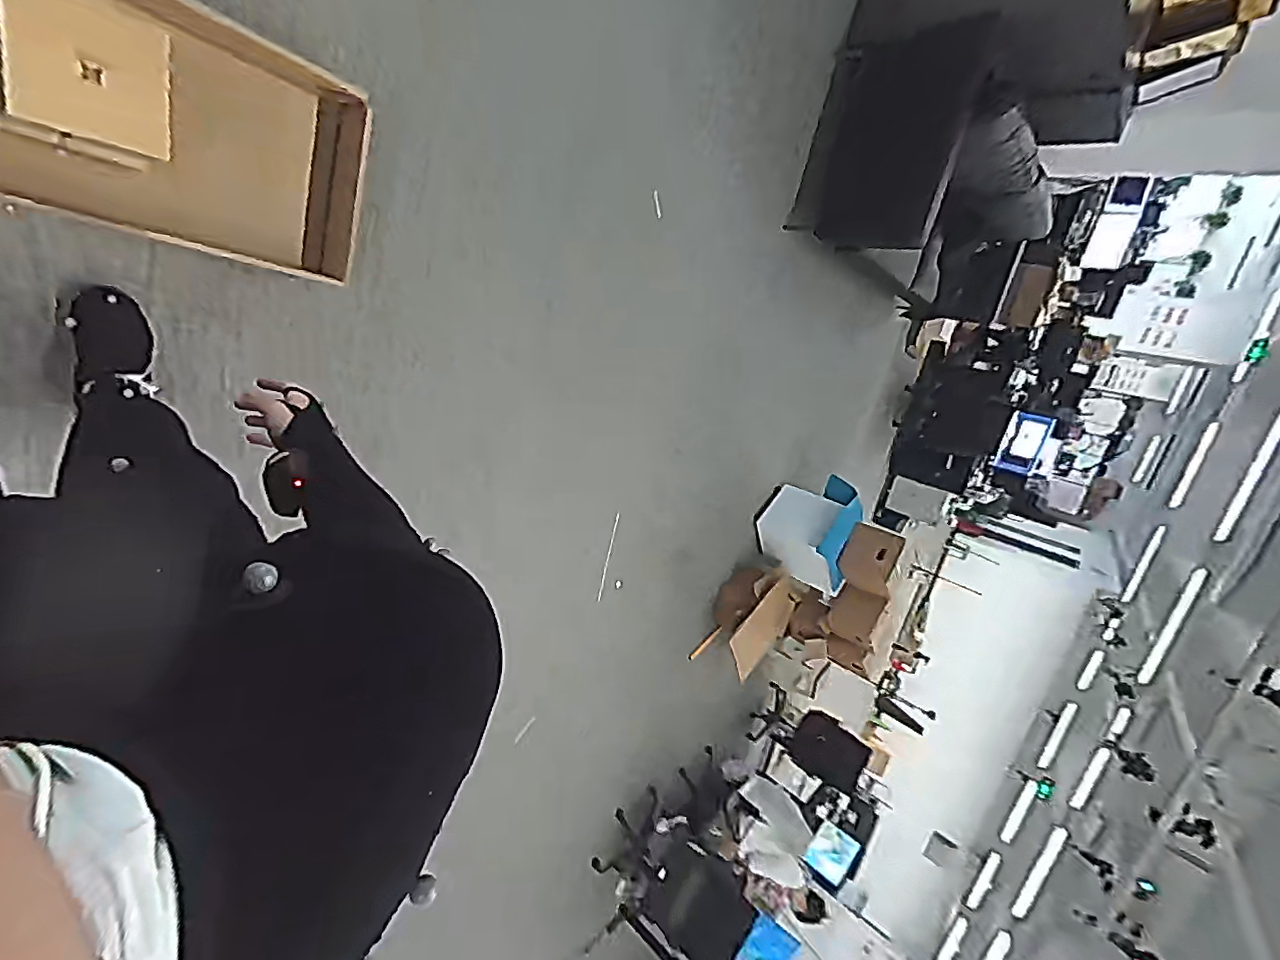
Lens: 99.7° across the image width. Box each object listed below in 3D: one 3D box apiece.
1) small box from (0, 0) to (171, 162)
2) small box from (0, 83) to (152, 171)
[{"bbox_3d":[-0.809,-0.588,0.790,0.168,0.176,0.179,-6,114,-50],"label":"small box"},{"bbox_3d":[-0.932,-0.628,0.888,0.179,0.176,0.168,-4,113,-52],"label":"small box"}]
